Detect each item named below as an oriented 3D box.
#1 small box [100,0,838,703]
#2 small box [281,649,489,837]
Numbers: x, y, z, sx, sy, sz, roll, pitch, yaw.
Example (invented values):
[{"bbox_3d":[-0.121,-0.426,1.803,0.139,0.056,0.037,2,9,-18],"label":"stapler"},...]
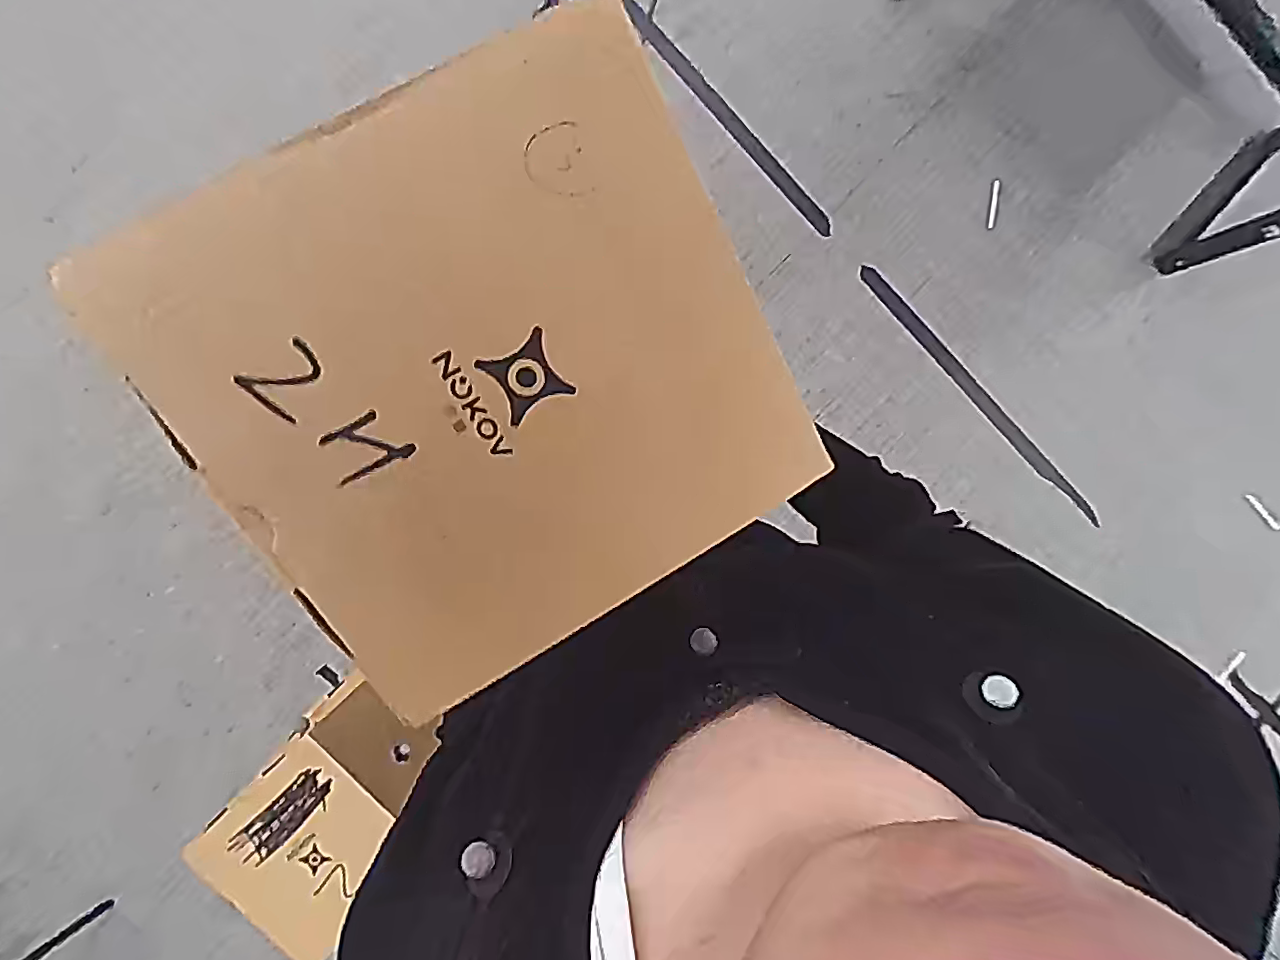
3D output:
[{"bbox_3d":[-0.052,-0.048,0.249,0.179,0.176,0.168,-30,104,-4],"label":"small box"},{"bbox_3d":[-0.347,0.344,0.773,0.179,0.176,0.168,43,88,-3],"label":"small box"}]
